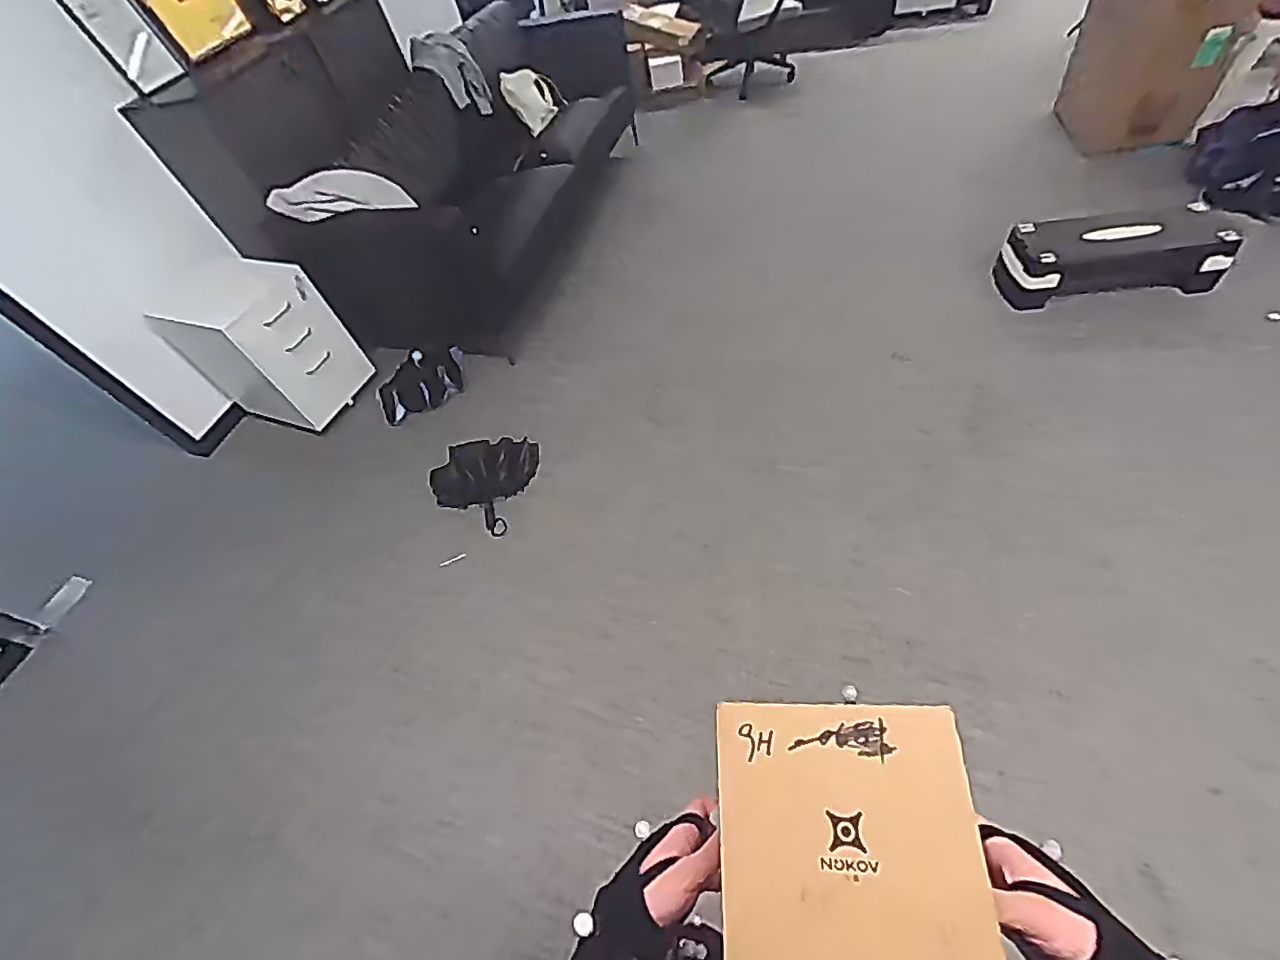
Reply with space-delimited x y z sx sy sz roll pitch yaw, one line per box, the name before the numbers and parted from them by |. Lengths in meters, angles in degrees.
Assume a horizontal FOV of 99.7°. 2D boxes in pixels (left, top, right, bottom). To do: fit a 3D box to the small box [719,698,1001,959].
small box | 0.154 0.272 0.434 0.168 0.176 0.179 -4 65 10
